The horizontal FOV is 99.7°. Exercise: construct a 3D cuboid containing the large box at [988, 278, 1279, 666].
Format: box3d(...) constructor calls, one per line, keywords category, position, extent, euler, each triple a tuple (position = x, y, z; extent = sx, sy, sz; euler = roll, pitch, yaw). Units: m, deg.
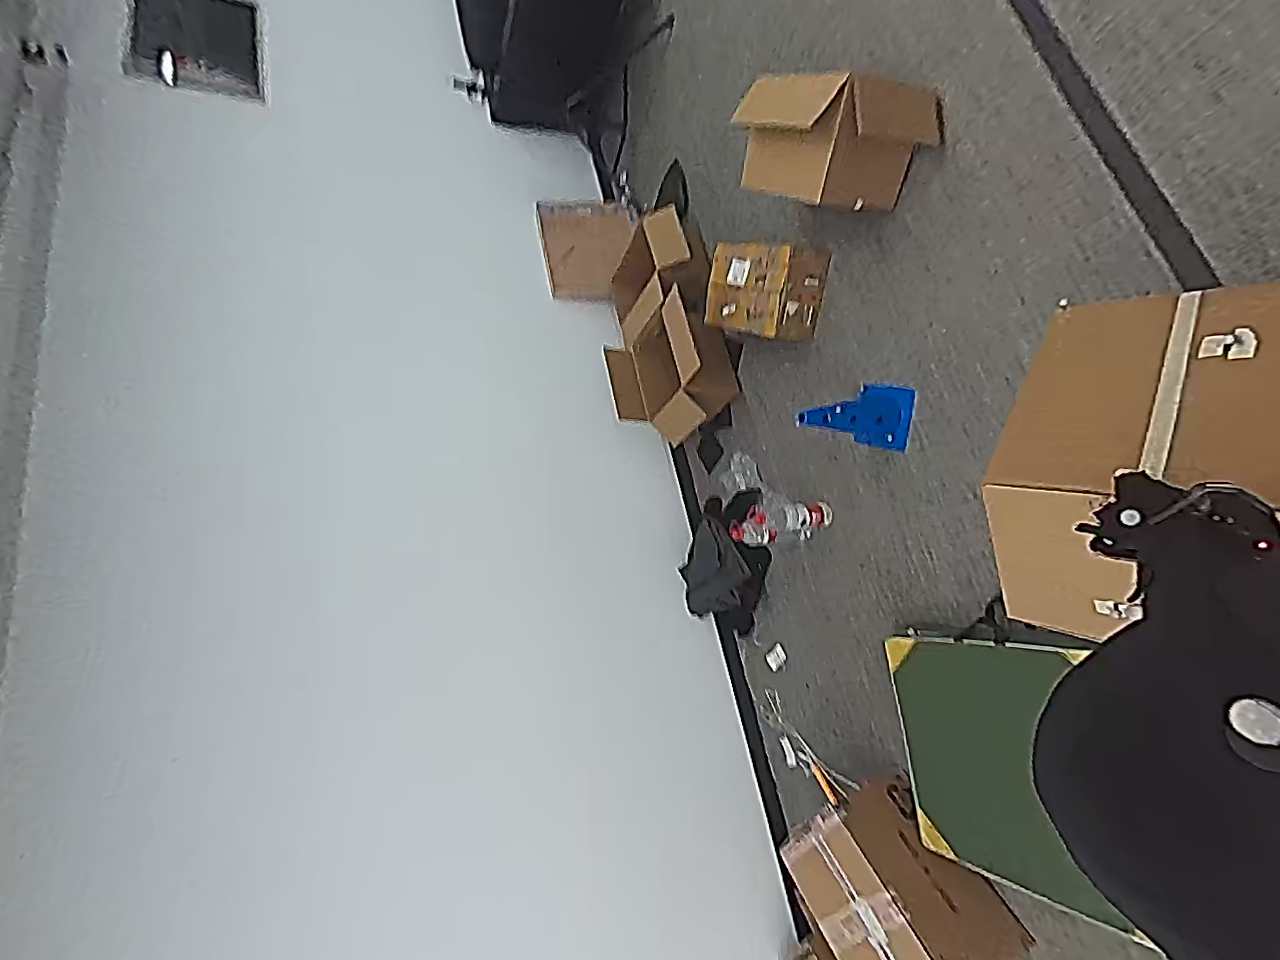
box3d(category="large box", position=(0.741, -0.024, 0.758), extent=(0.320, 0.408, 0.320), euler=(11, 143, 48))
